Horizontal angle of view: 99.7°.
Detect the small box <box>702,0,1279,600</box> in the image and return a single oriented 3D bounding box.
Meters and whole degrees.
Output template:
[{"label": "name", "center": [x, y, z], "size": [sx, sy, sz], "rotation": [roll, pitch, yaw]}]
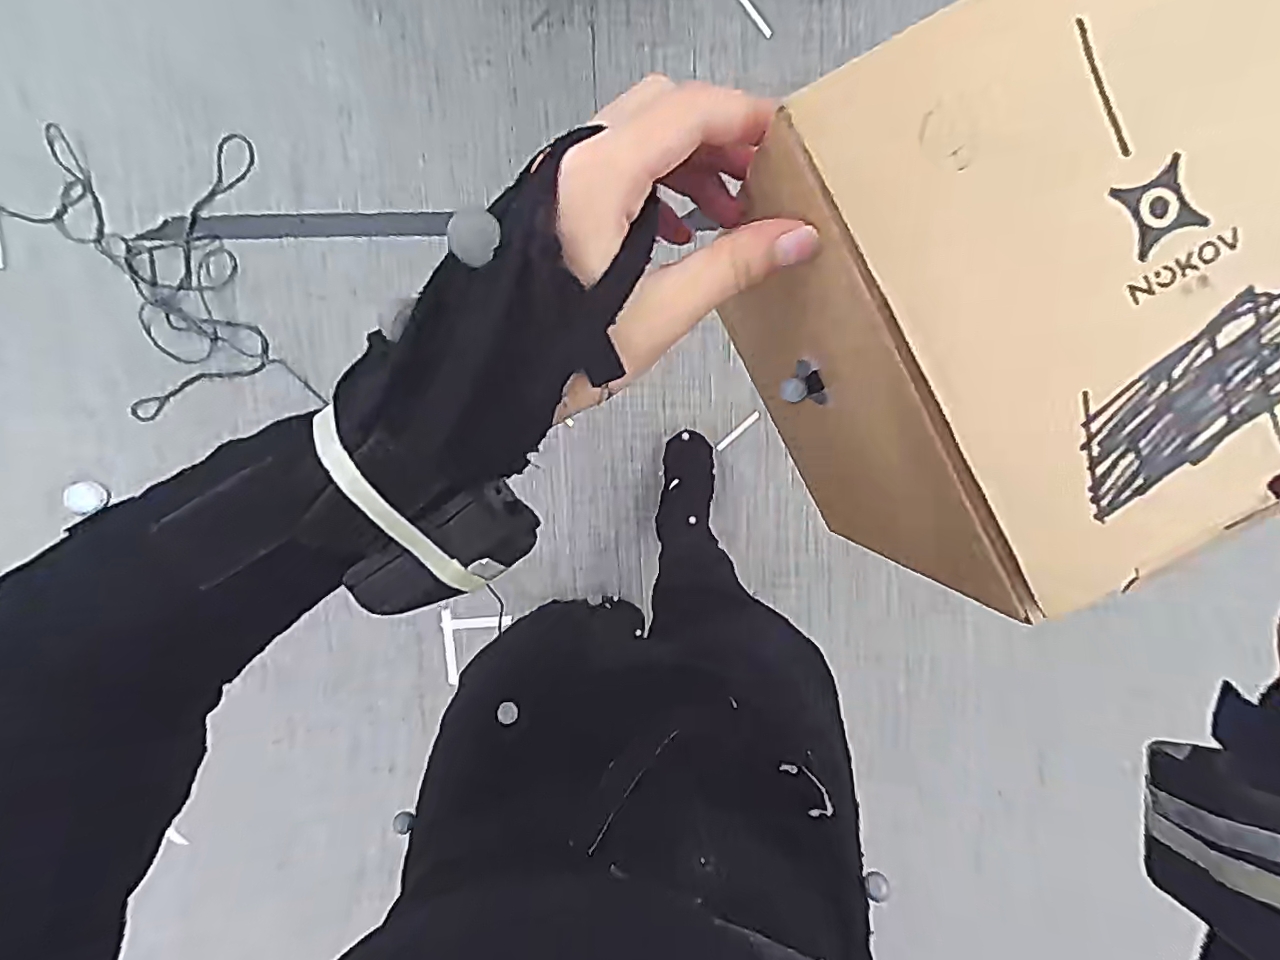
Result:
[{"label": "small box", "center": [0.144, -0.082, 0.233], "size": [0.168, 0.176, 0.179], "rotation": [-29, 94, 1]}]
